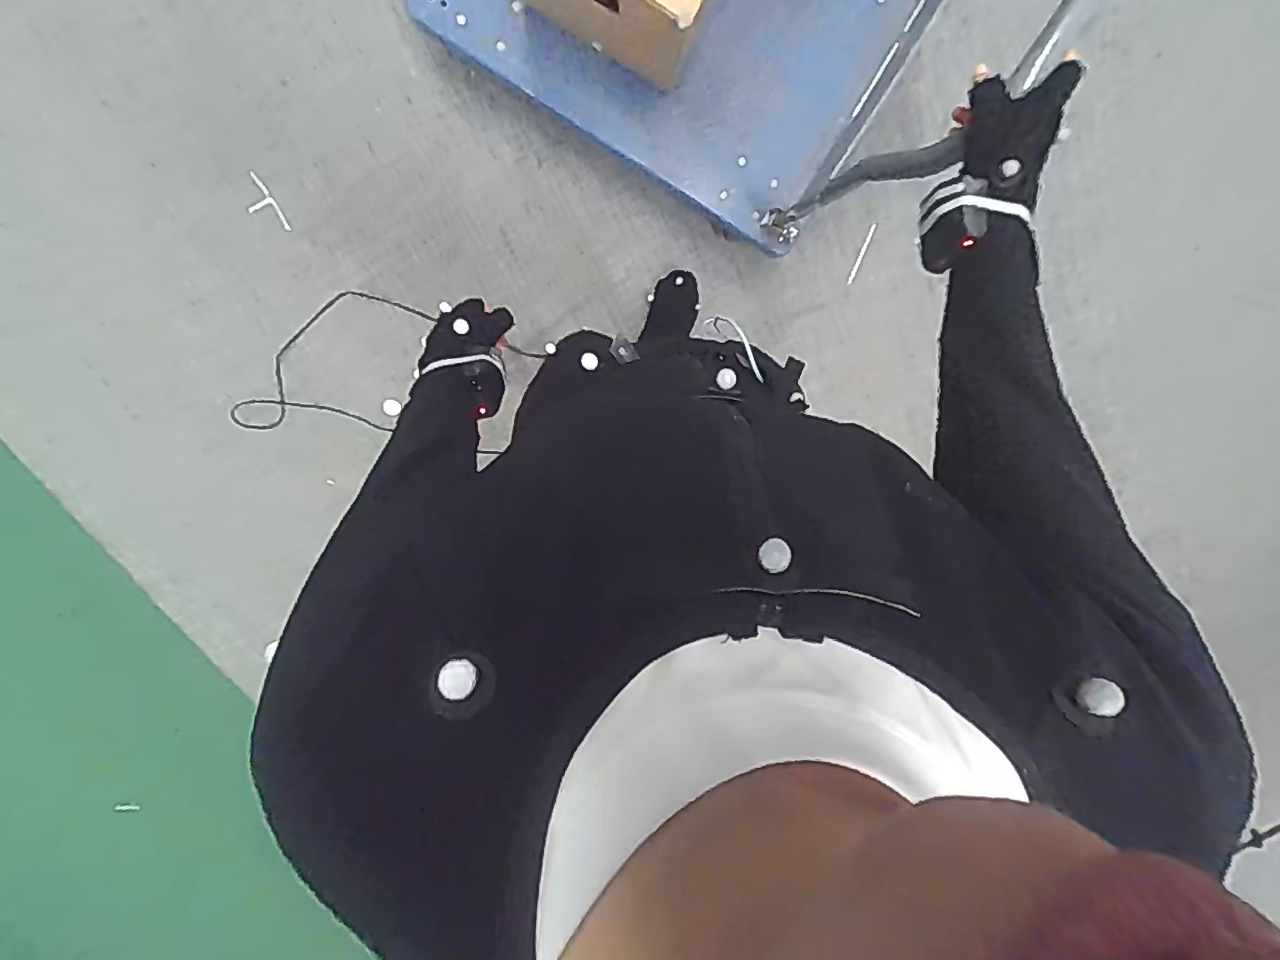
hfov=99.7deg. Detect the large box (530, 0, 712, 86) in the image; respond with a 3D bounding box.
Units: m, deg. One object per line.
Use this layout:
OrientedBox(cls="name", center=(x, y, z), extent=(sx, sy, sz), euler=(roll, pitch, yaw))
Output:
OrientedBox(cls="large box", center=(0.020, -0.933, 0.824), extent=(0.320, 0.320, 0.408), euler=(24, 109, -10))
